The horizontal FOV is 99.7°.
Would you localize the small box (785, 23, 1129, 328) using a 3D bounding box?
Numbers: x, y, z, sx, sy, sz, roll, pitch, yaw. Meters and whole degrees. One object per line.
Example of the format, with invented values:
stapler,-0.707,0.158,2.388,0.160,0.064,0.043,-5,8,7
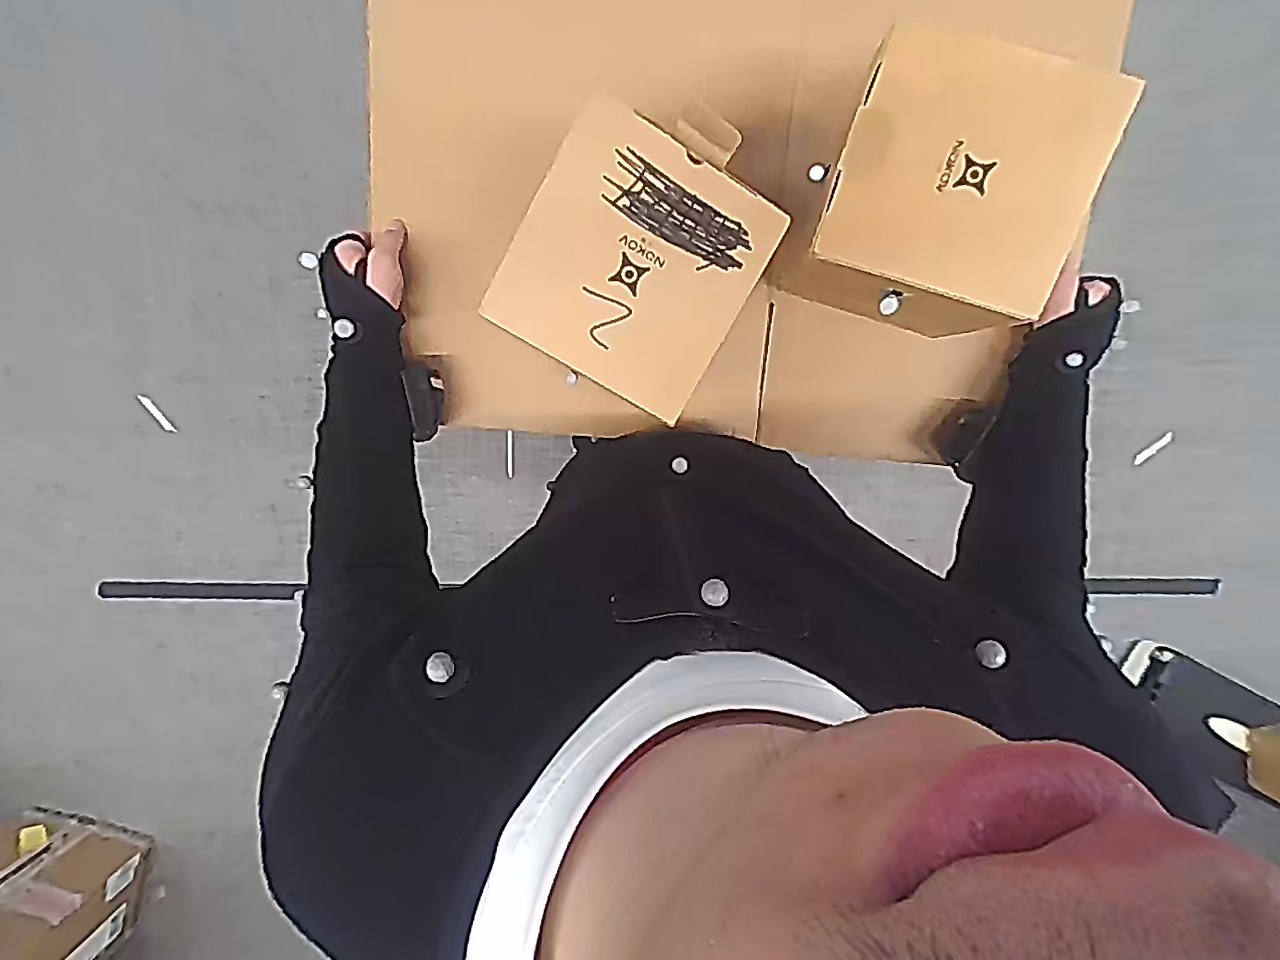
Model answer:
small box,0.246,-0.240,0.476,0.179,0.176,0.168,19,102,4
